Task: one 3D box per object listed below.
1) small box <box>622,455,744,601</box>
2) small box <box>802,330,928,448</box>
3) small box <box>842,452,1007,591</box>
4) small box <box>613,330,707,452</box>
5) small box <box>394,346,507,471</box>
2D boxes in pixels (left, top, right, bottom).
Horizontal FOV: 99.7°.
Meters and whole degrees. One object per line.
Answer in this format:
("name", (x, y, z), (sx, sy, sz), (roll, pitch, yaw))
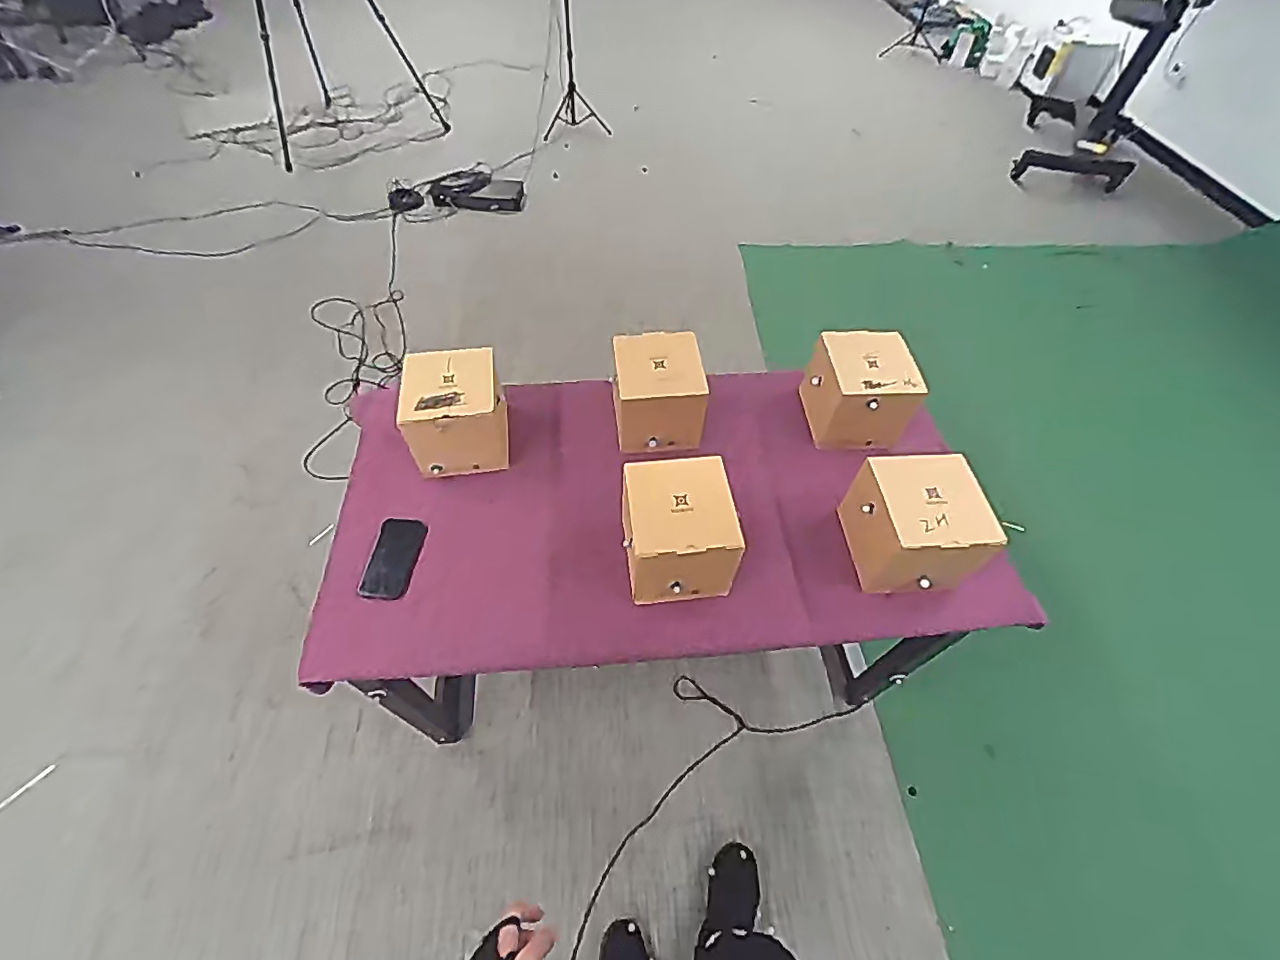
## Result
("small box", (0.060, 0.081, 0.899), (0.168, 0.176, 0.179), (-5, 54, -6))
("small box", (0.442, -0.184, 1.100), (0.168, 0.176, 0.179), (-2, 54, -2))
("small box", (0.460, 0.071, 0.912), (0.168, 0.176, 0.179), (-2, 54, -1))
("small box", (0.032, -0.176, 1.084), (0.168, 0.176, 0.179), (-4, 55, -4))
("small box", (-0.352, -0.130, 1.037), (0.168, 0.176, 0.179), (-6, 54, -7))
